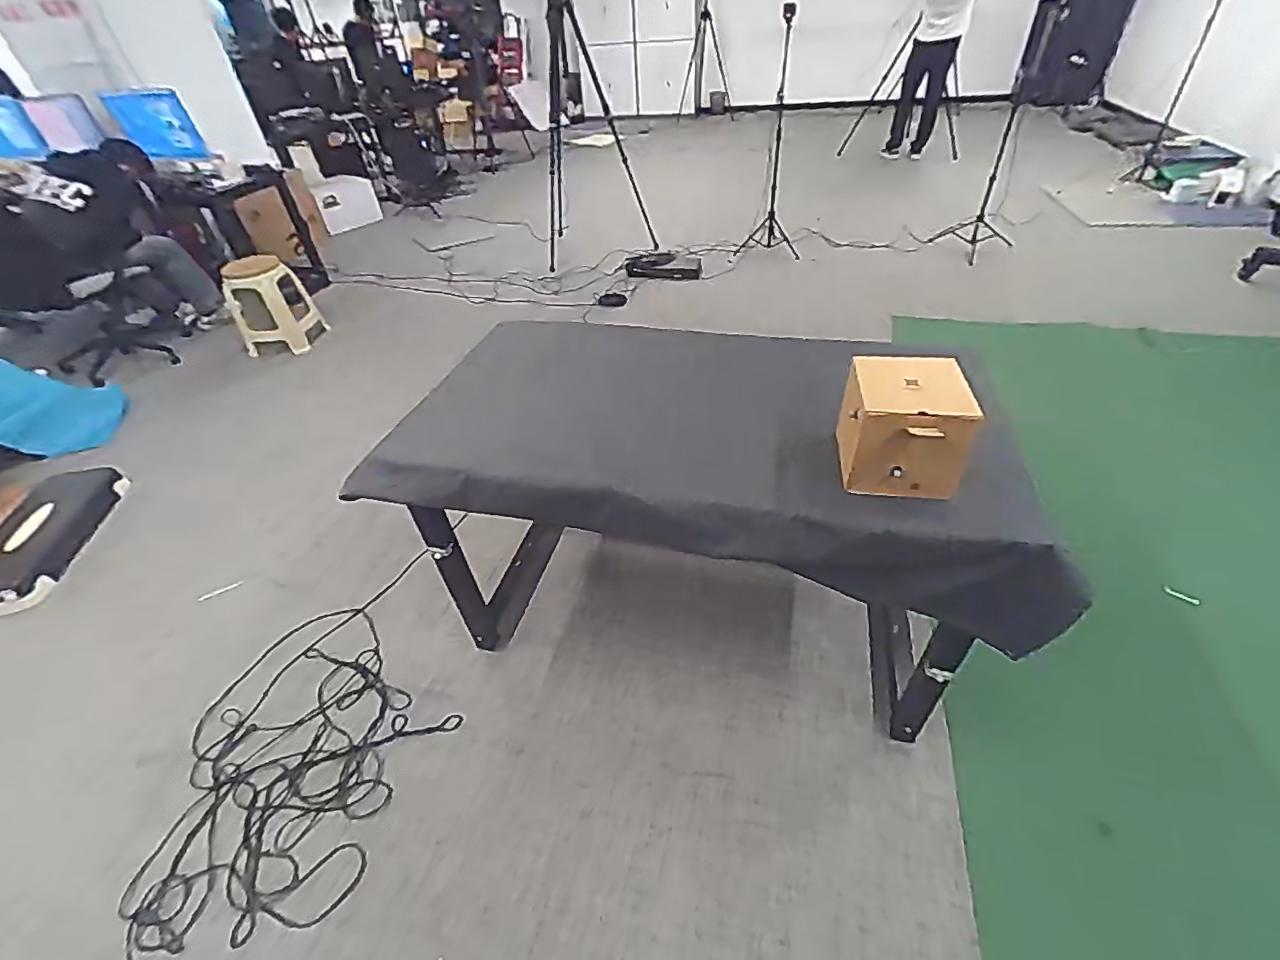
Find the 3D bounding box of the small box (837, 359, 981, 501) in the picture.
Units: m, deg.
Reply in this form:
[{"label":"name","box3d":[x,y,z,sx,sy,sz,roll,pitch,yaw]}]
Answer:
[{"label":"small box","box3d":[0.437,-0.087,0.914,0.168,0.176,0.179,3,42,10]}]
